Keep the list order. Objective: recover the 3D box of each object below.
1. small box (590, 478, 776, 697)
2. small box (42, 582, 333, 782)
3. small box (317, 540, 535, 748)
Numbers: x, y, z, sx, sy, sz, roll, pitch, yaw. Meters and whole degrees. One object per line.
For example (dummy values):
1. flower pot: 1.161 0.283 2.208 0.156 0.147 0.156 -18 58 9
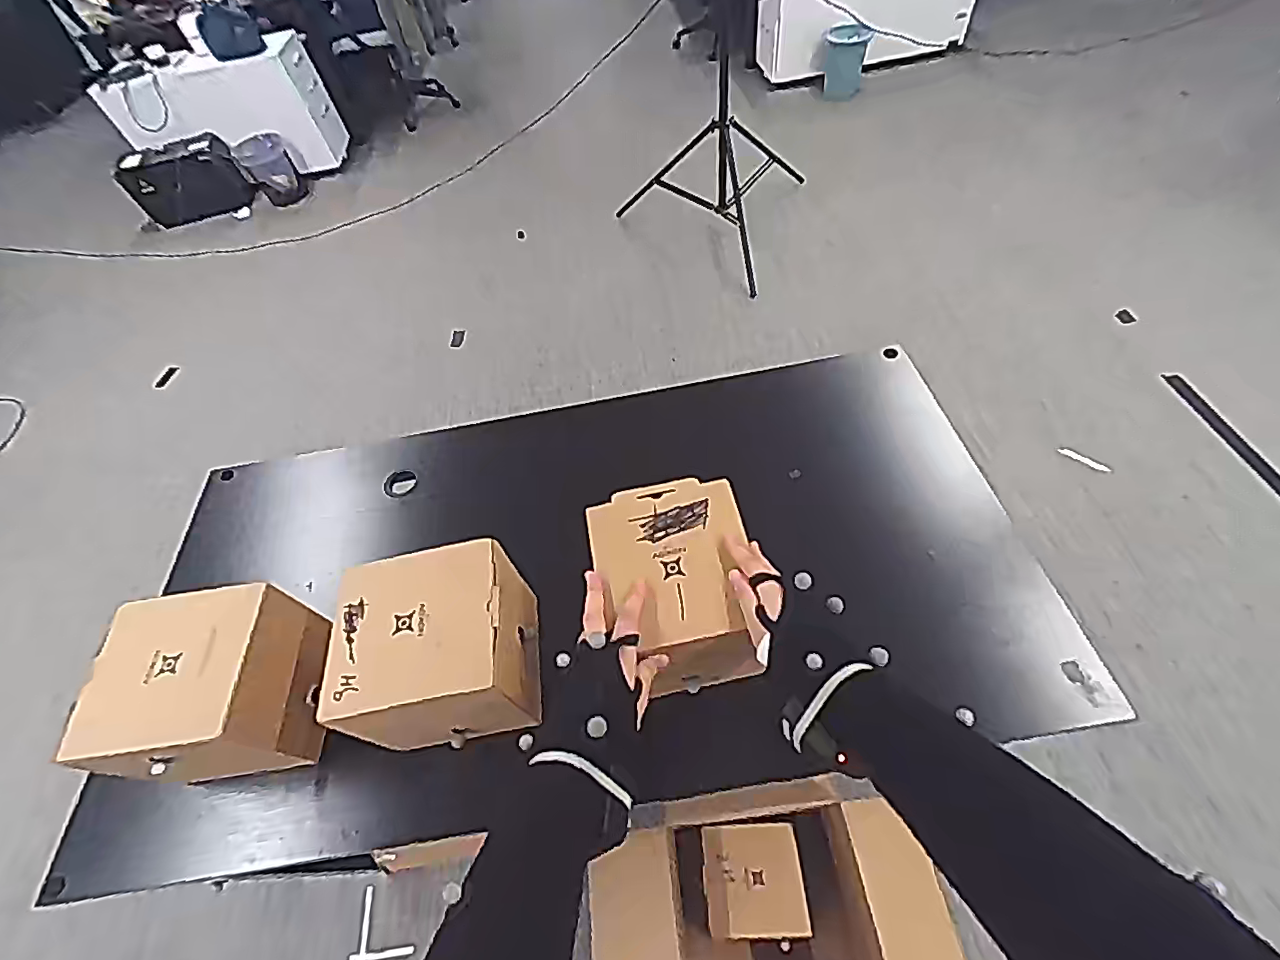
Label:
1. small box: 0.044 0.127 0.621 0.168 0.176 0.179 -12 55 0
2. small box: -0.481 0.237 0.619 0.179 0.176 0.168 -8 55 1
3. small box: -0.221 0.191 0.615 0.179 0.176 0.168 -11 54 0
